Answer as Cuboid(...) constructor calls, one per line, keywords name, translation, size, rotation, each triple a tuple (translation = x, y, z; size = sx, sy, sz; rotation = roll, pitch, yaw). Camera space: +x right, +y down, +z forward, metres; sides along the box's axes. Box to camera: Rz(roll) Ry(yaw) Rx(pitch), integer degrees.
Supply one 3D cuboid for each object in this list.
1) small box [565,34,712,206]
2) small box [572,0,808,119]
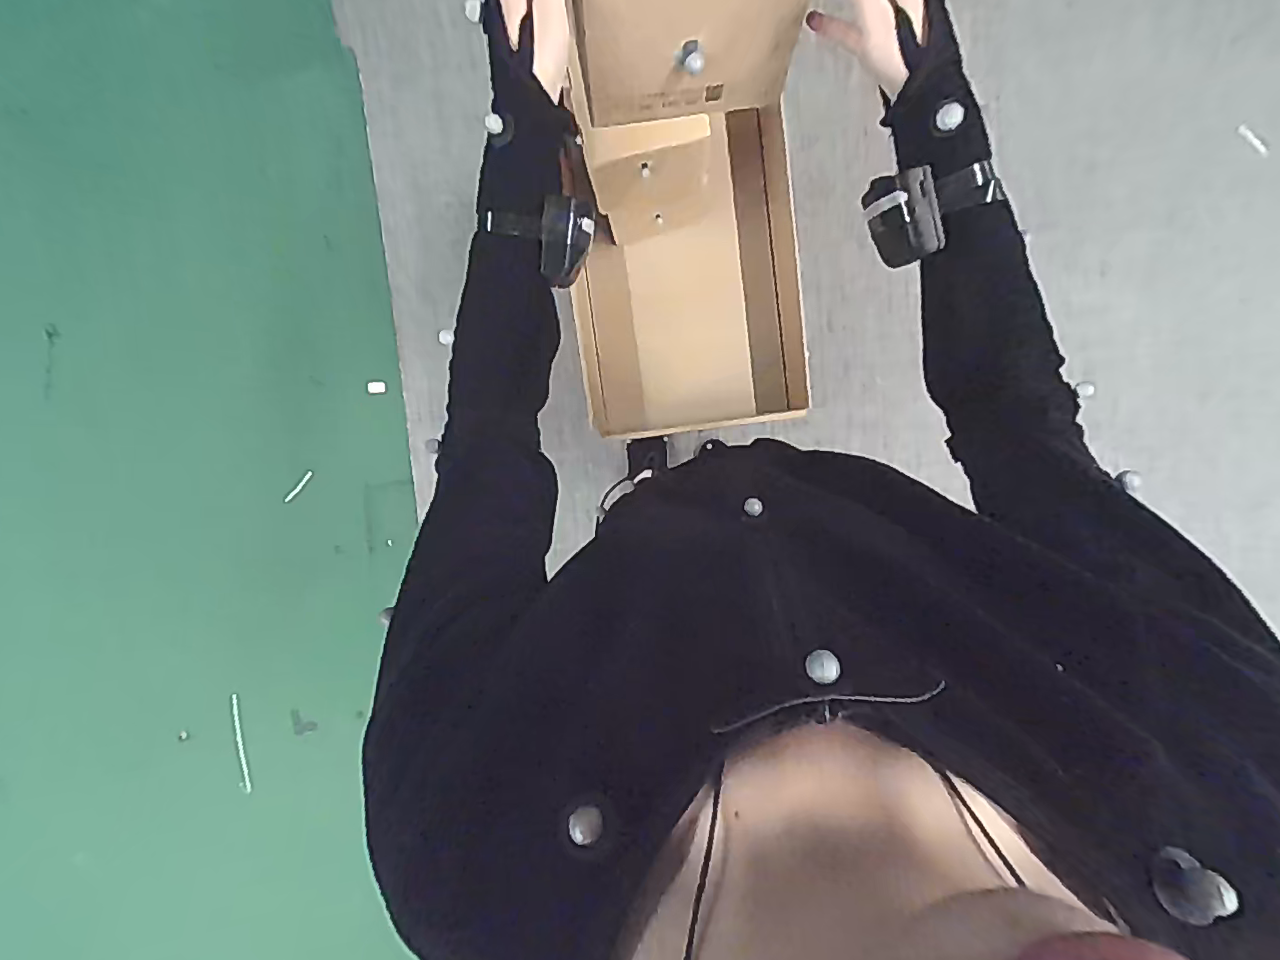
Cuboid(name="small box", translation=(0.002, -0.539, 0.807), size=(0.179, 0.176, 0.168), rotation=(-11, 95, 5))
Cuboid(name="small box", translation=(0.028, -0.414, 0.398), size=(0.168, 0.176, 0.179), rotation=(-9, 78, -2))
